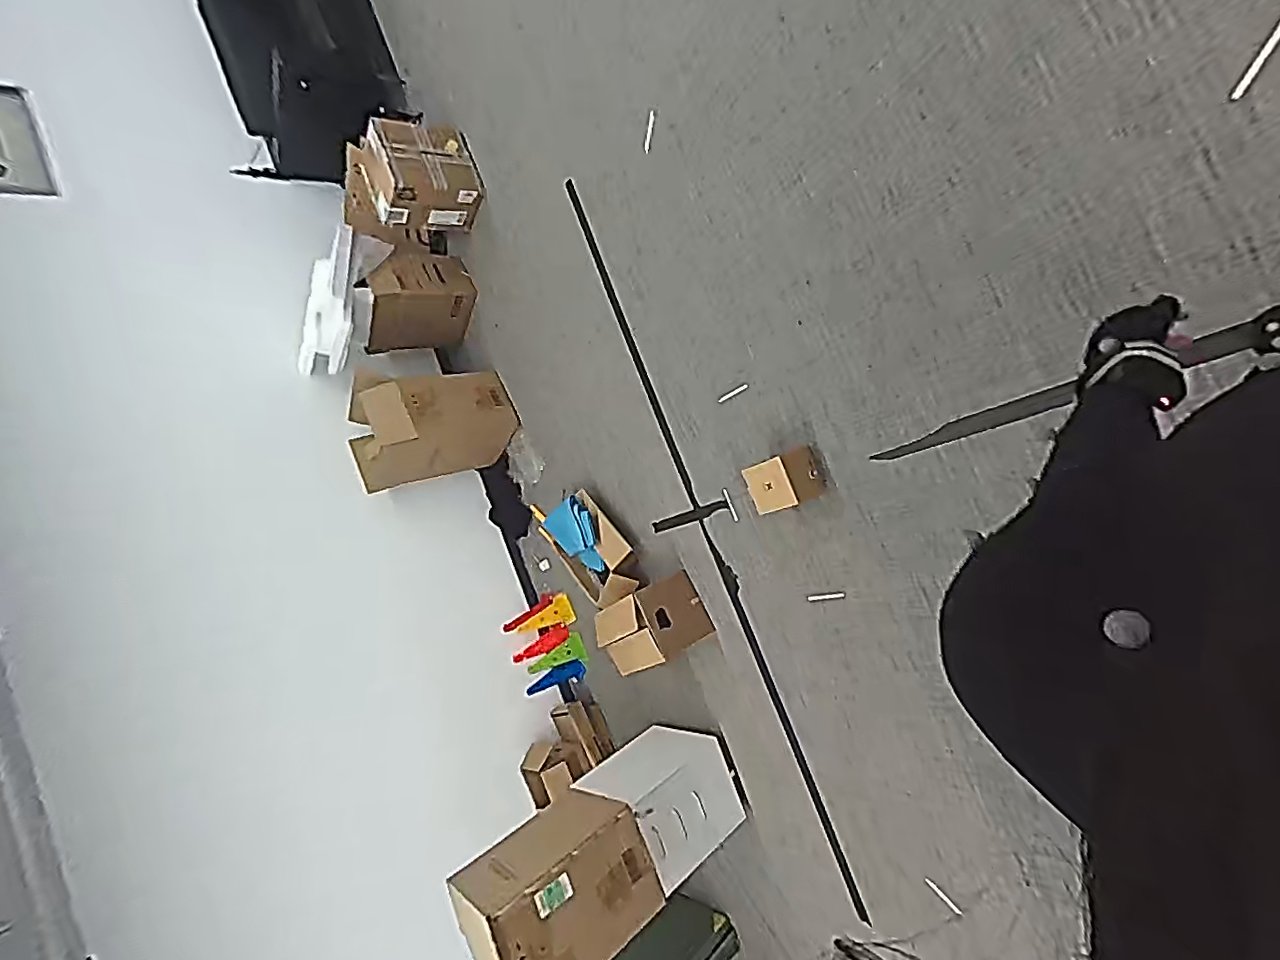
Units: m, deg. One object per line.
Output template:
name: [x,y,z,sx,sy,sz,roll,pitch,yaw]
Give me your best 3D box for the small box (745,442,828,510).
small box: [0.491,-0.014,1.807,0.179,0.176,0.168,-27,84,52]
